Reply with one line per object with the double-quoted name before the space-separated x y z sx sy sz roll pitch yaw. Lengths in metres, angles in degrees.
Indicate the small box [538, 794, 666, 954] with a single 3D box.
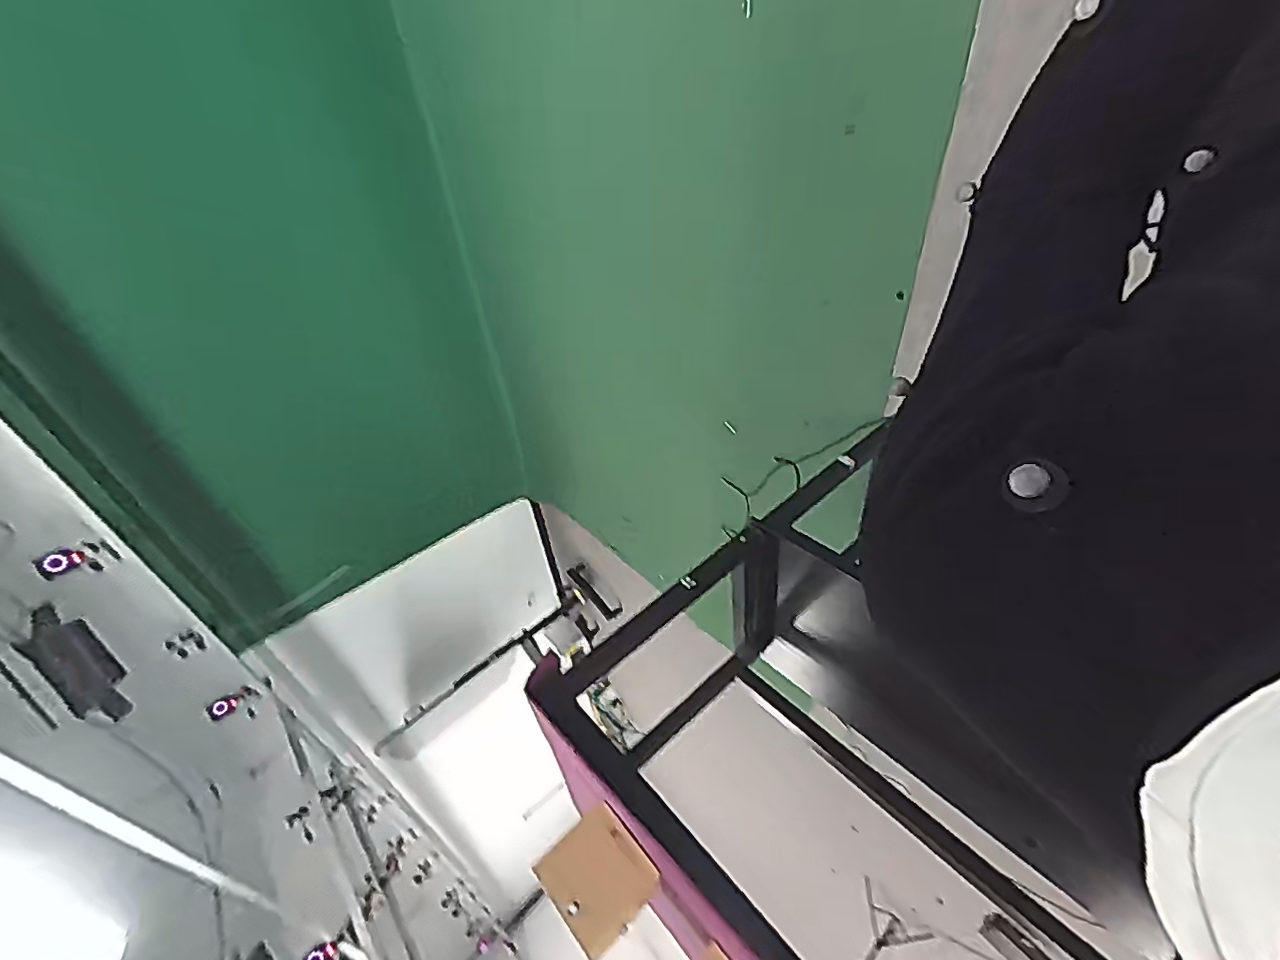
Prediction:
"small box" -0.065 0.738 1.018 0.168 0.176 0.179 37 148 32
